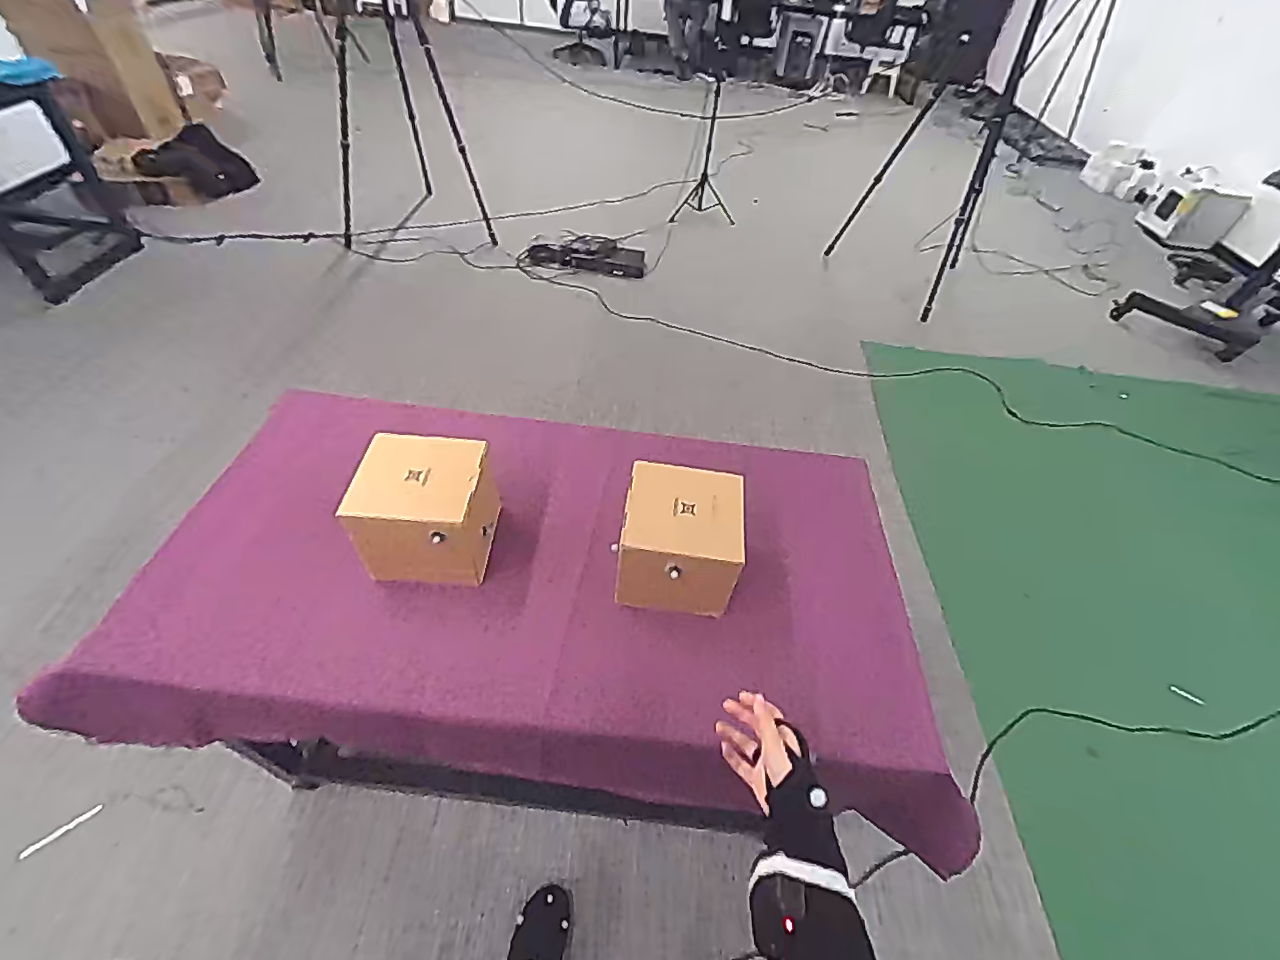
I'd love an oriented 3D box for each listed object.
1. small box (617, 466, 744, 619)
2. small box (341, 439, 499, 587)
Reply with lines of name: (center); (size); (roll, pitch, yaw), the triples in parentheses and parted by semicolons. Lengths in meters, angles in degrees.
small box: (0.062, 0.102, 0.857); (0.179, 0.176, 0.168); (9, 48, 1)
small box: (-0.332, 0.056, 0.858); (0.179, 0.176, 0.168); (4, 47, -4)
